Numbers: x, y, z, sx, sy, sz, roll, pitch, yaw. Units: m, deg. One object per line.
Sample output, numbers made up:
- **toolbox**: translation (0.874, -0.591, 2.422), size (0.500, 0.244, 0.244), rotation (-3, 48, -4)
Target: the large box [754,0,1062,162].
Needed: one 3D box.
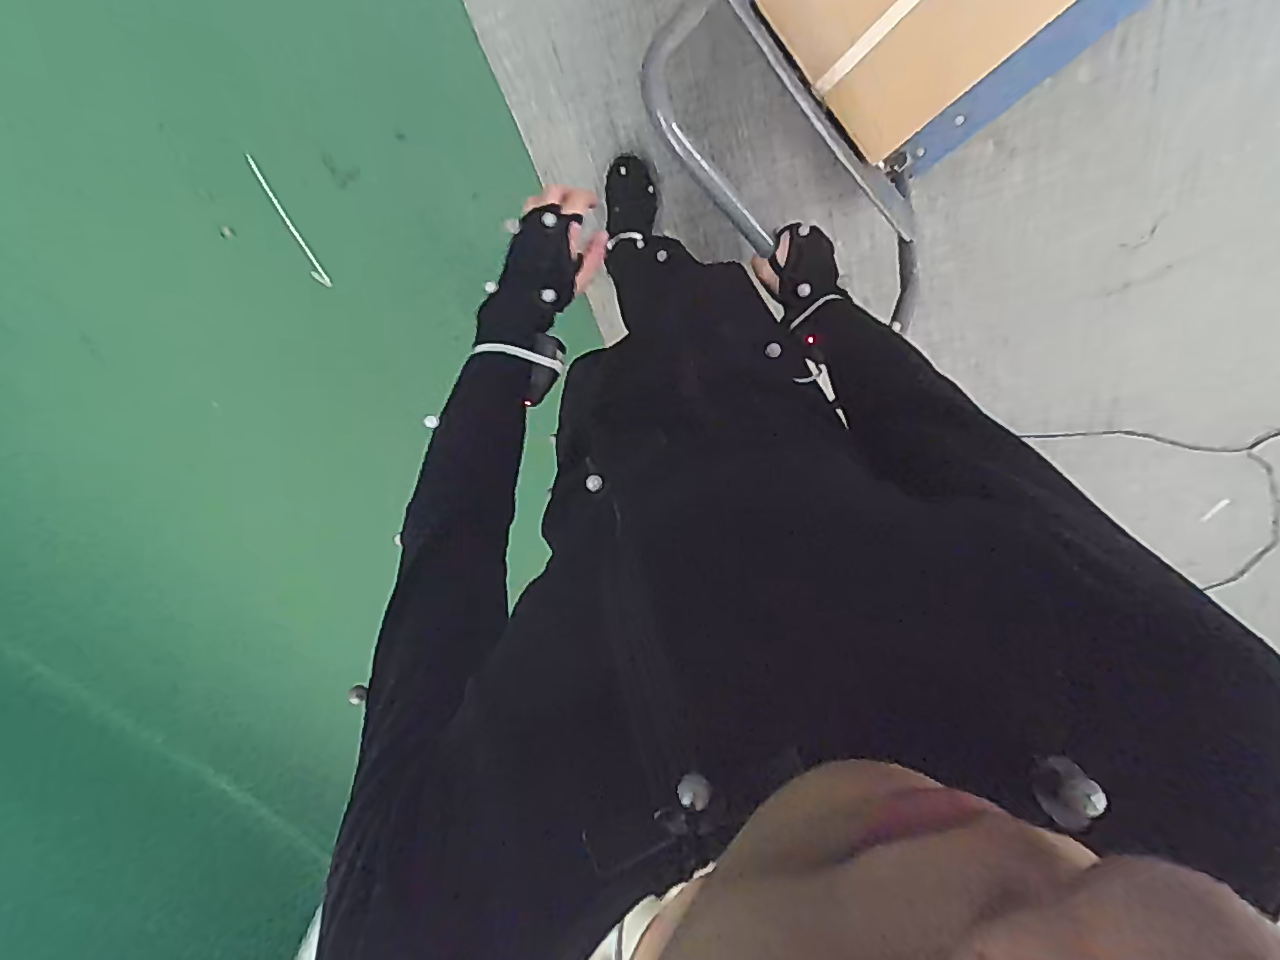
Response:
- **large box**: translation (0.435, -0.801, 0.827), size (0.320, 0.320, 0.408), rotation (39, 133, -22)
